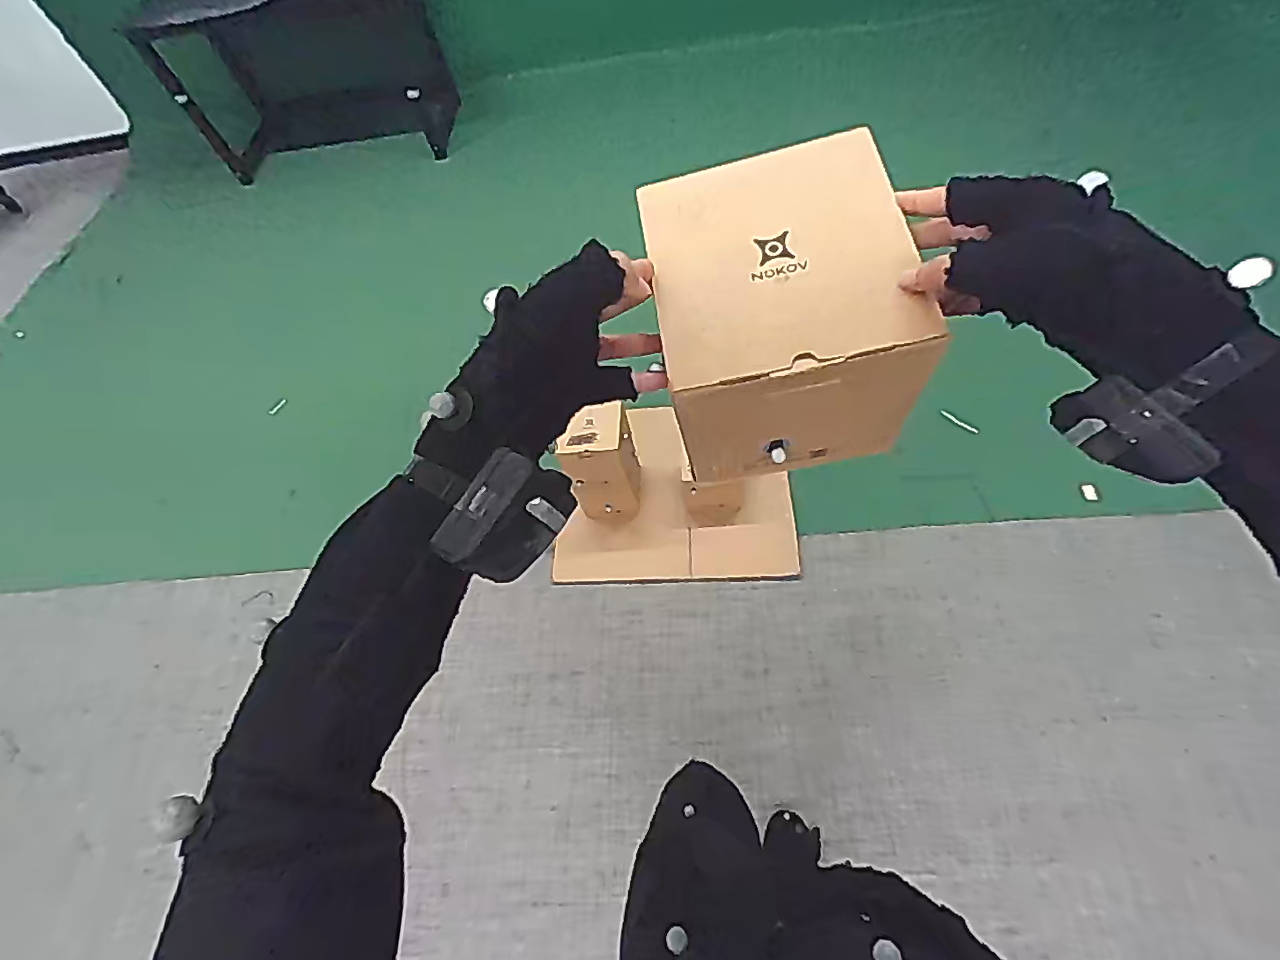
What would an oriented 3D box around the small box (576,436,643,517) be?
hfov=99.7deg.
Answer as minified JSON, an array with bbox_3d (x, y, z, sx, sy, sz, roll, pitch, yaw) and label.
[{"bbox_3d":[-0.085,-0.008,1.596,0.168,0.176,0.179,-5,58,8],"label":"small box"}]

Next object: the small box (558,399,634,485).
[{"bbox_3d":[-0.111,-0.095,1.459,0.168,0.176,0.179,-3,57,8],"label":"small box"}]
